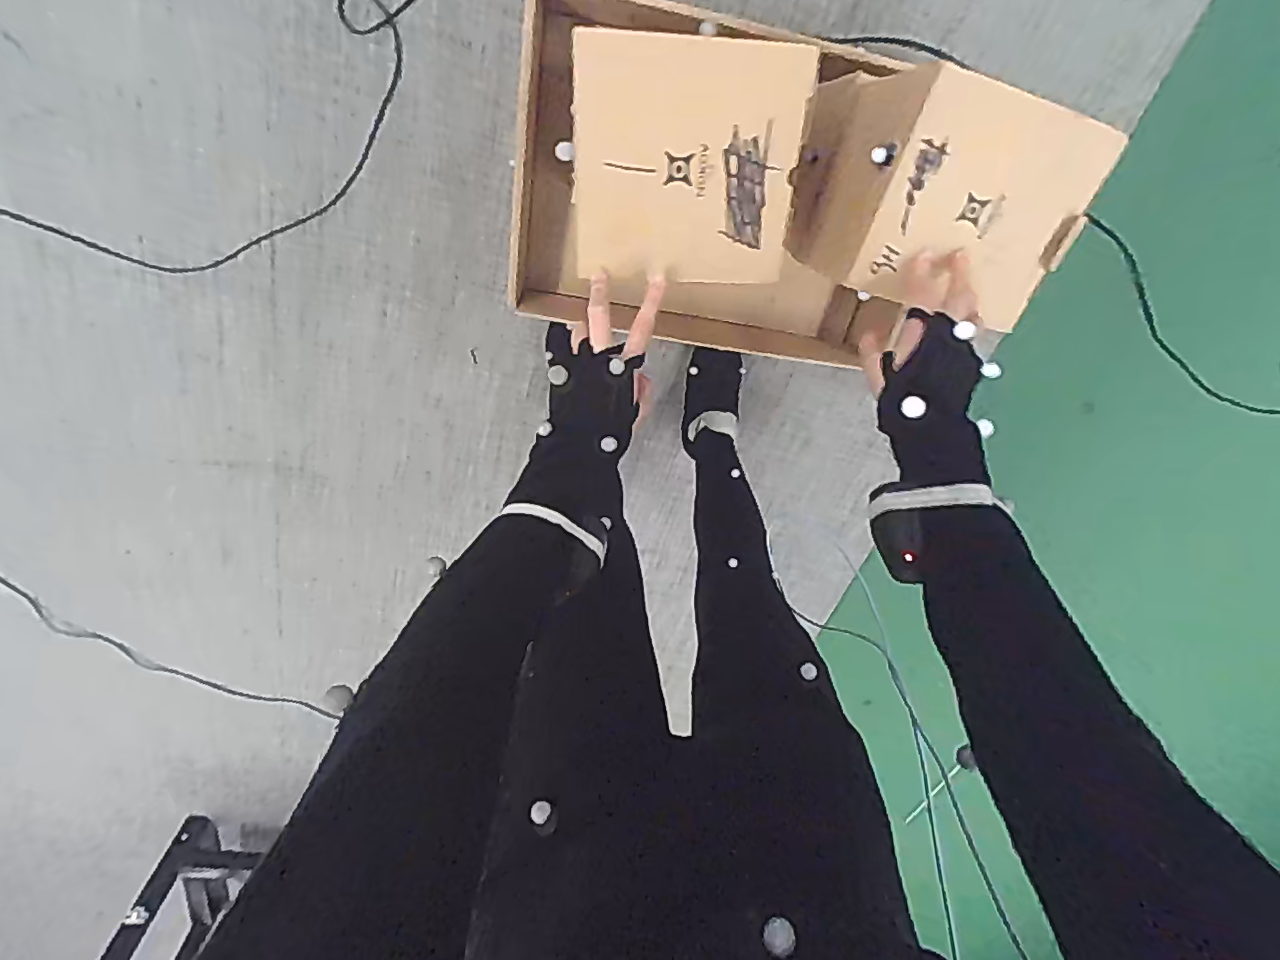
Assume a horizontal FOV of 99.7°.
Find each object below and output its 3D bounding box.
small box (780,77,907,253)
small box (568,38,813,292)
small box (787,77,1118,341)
[{"bbox_3d":[0.264,-0.350,0.651,0.168,0.176,0.179,9,120,-9],"label":"small box"},{"bbox_3d":[0.026,-0.274,0.483,0.179,0.176,0.168,-1,122,-6],"label":"small box"},{"bbox_3d":[0.271,-0.254,0.517,0.179,0.176,0.168,11,119,-11],"label":"small box"}]
